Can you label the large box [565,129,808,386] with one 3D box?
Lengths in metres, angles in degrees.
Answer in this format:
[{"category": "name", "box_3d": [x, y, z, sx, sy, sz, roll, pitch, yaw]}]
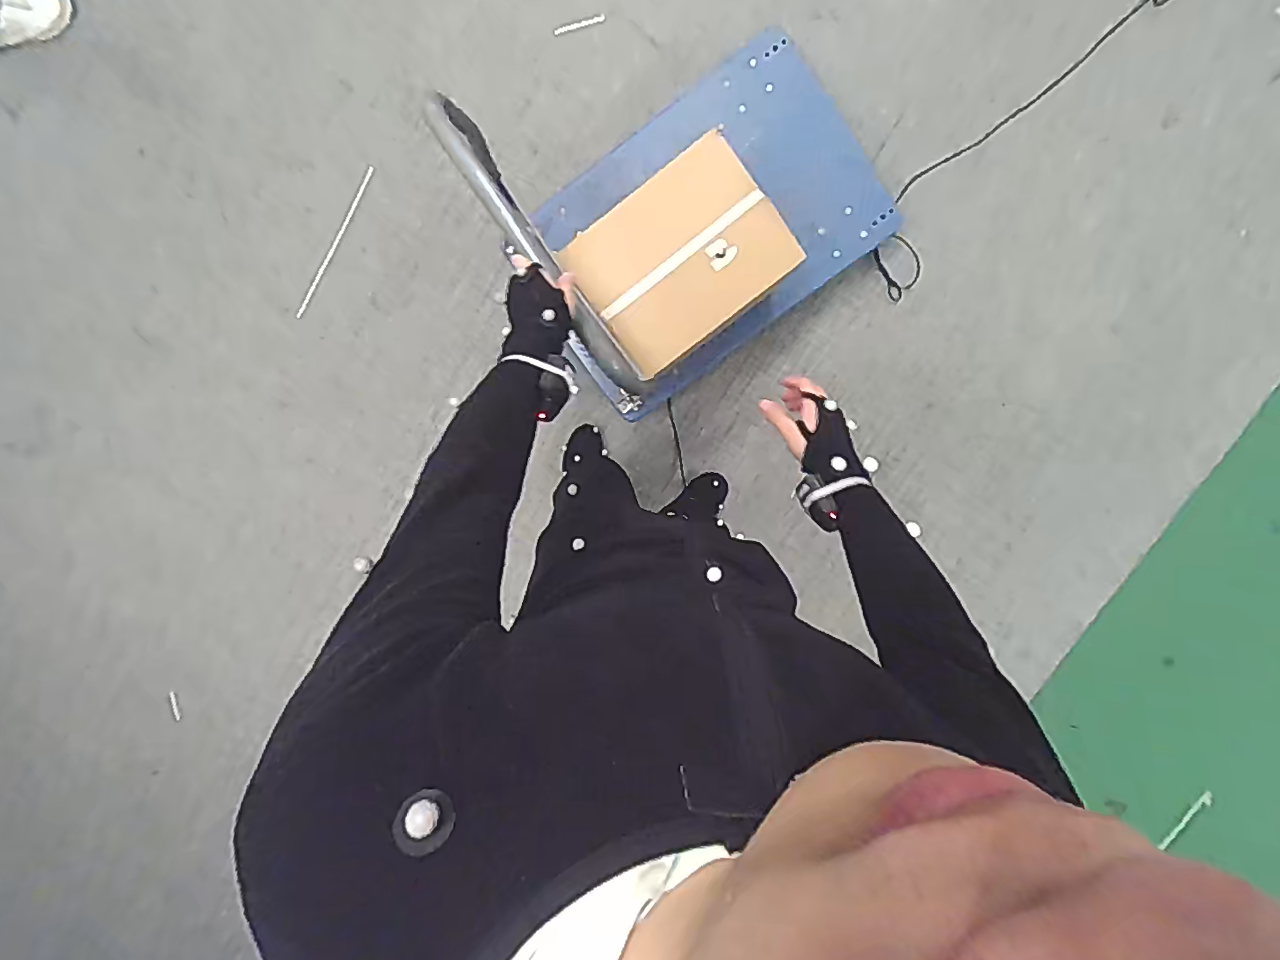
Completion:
[{"category": "large box", "box_3d": [0.092, -0.463, 1.229, 0.408, 0.320, 0.320, -37, 96, 3]}]
